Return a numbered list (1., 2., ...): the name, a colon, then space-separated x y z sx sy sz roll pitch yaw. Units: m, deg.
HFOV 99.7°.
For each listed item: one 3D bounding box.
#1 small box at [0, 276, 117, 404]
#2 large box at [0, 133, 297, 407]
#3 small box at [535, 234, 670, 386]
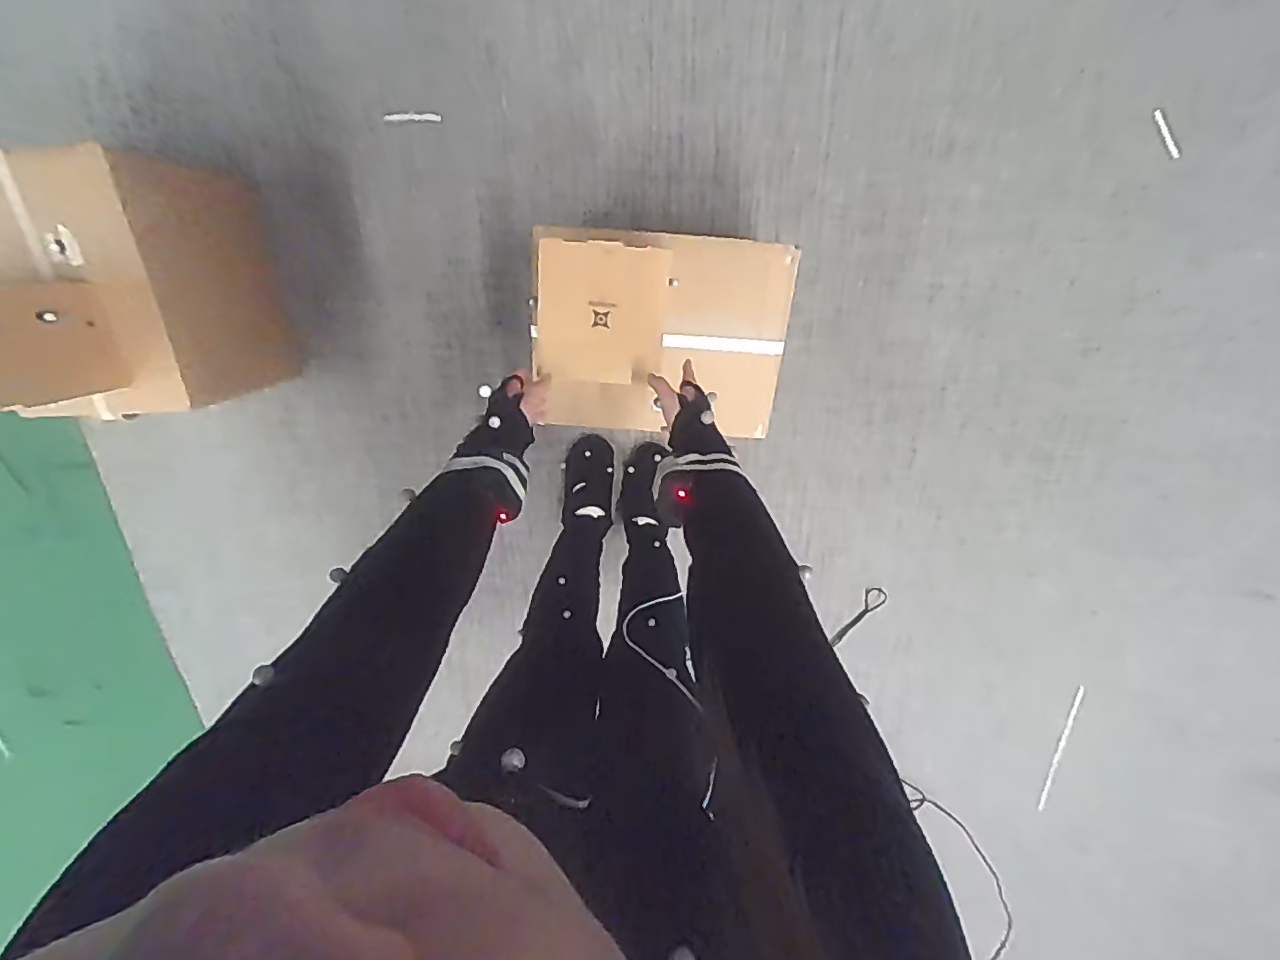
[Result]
1. small box: -0.940 -0.210 0.799 0.179 0.176 0.168 -2 111 3
2. large box: -0.919 -0.366 0.999 0.320 0.320 0.408 -1 111 2
3. small box: -0.048 -0.241 0.767 0.168 0.176 0.179 5 109 -1
